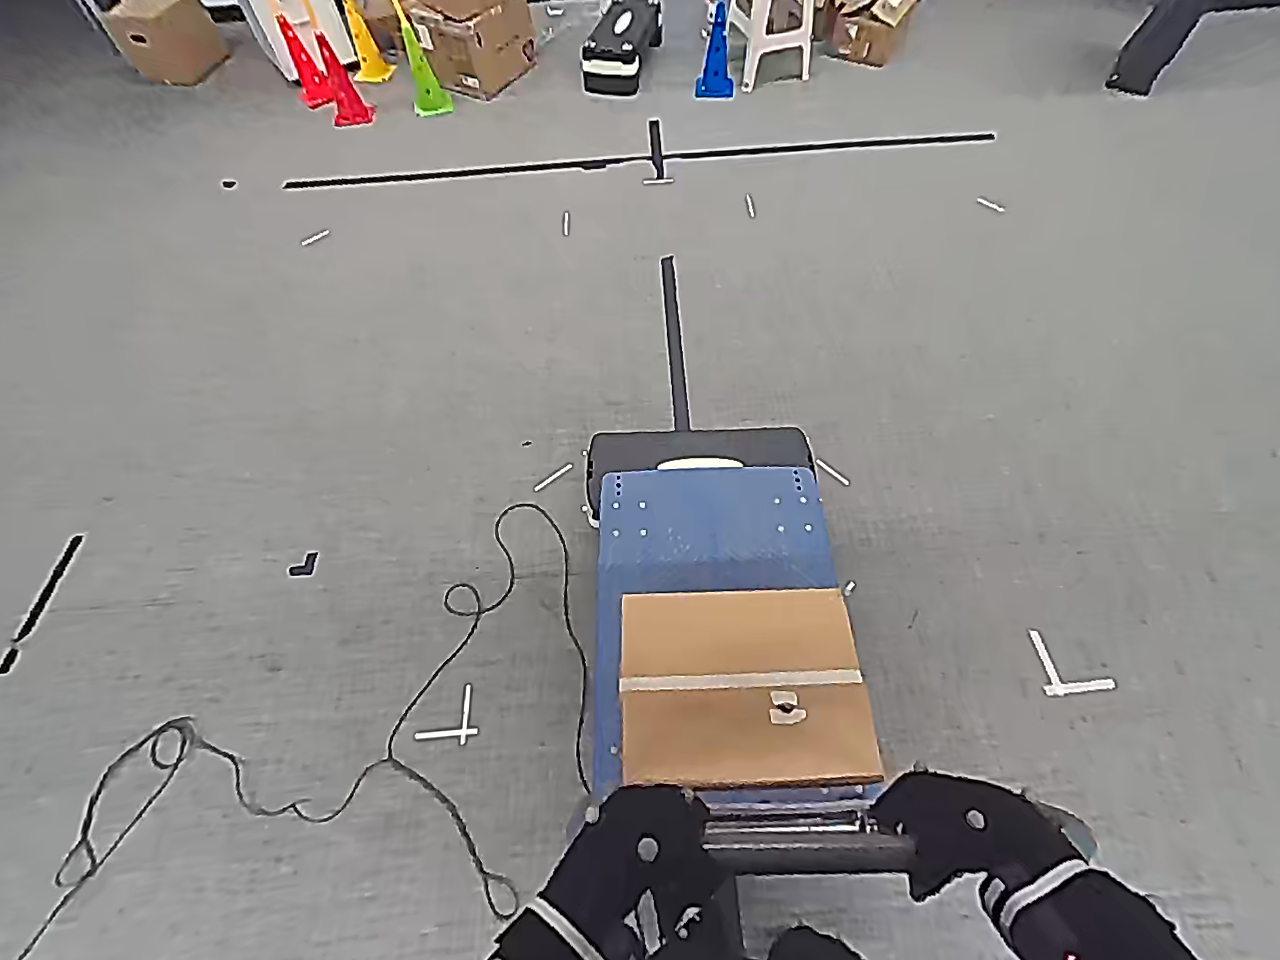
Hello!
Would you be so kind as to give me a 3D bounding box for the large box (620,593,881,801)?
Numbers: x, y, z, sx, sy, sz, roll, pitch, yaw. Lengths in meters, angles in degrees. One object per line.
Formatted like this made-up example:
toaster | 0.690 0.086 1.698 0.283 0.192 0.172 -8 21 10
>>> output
large box | 0.170 0.422 1.032 0.408 0.320 0.320 -2 60 0
